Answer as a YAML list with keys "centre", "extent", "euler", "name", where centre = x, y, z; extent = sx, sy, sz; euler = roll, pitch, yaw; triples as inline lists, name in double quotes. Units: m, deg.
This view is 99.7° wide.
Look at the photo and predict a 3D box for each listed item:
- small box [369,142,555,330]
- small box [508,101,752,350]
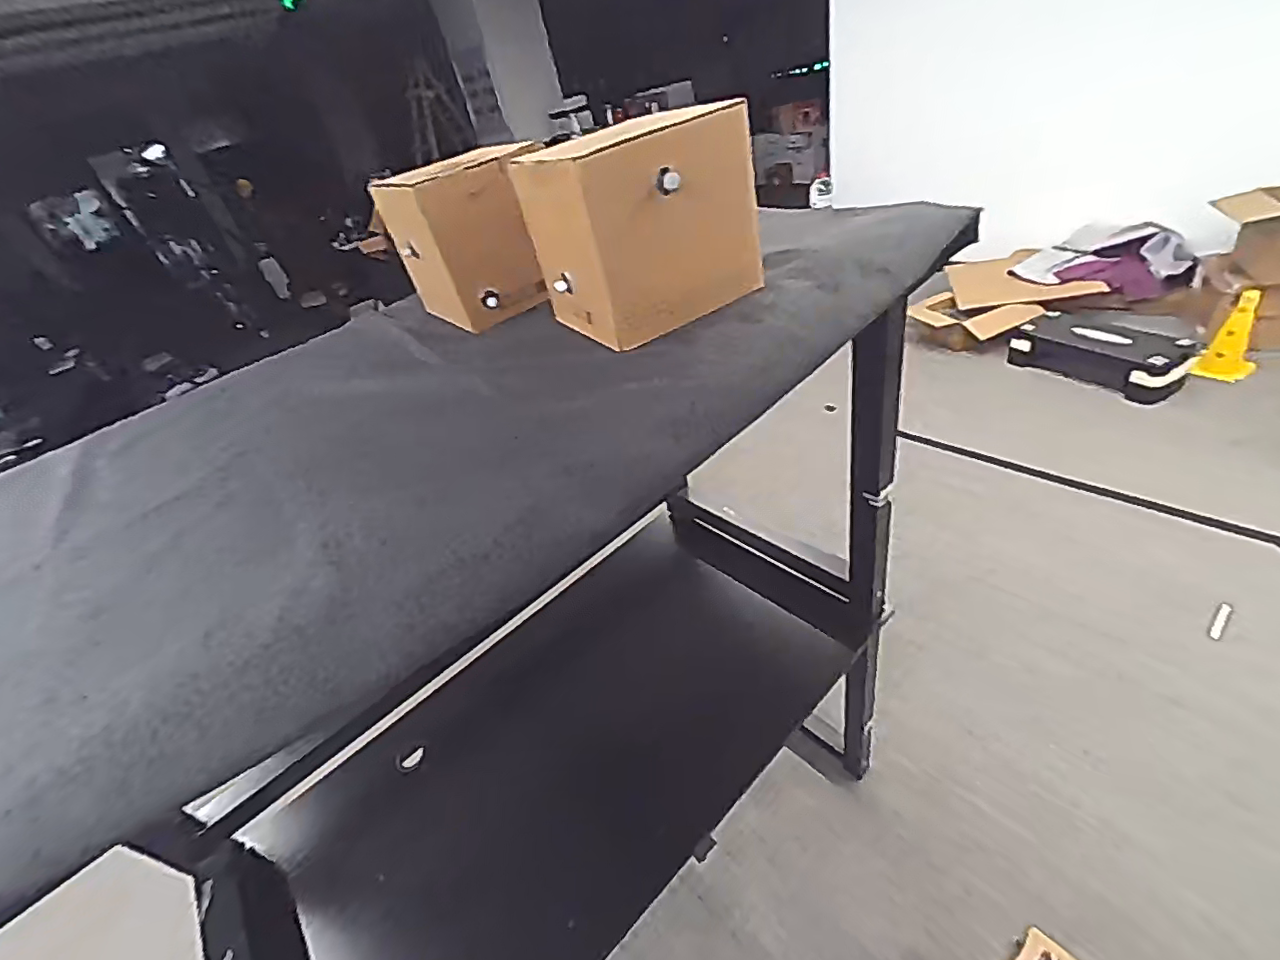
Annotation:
- centre: [-0.208, -0.310, 0.695]
  extent: [0.168, 0.176, 0.179]
  euler: [-35, 40, -23]
  name: "small box"
- centre: [-0.003, -0.255, 0.547]
  extent: [0.179, 0.176, 0.168]
  euler: [-30, 37, -16]
  name: "small box"
